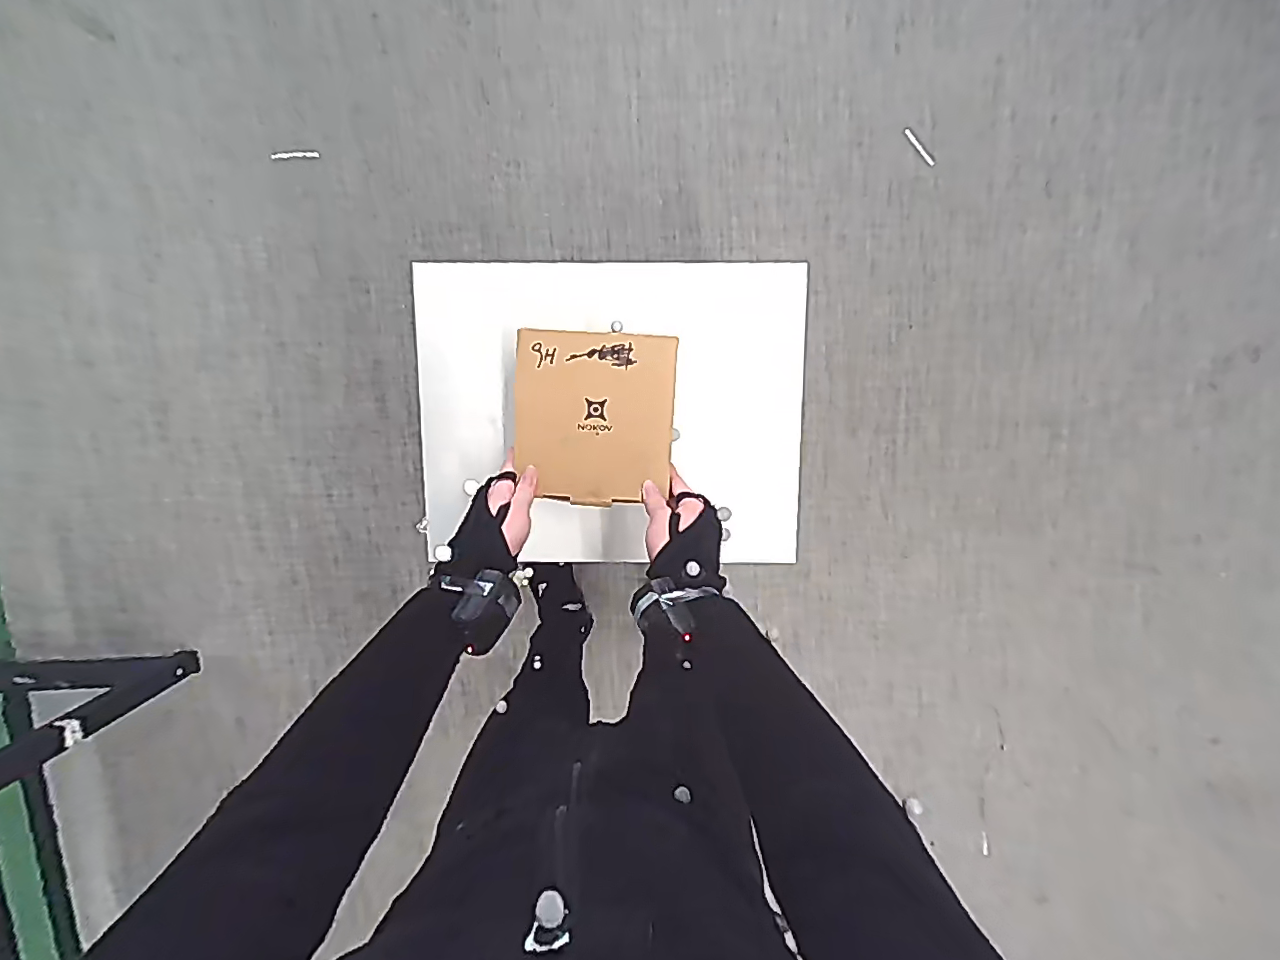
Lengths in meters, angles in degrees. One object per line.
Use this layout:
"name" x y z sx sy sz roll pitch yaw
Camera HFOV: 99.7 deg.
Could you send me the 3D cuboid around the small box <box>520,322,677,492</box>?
"small box" -0.043 -0.086 0.649 0.168 0.176 0.179 1 97 0
